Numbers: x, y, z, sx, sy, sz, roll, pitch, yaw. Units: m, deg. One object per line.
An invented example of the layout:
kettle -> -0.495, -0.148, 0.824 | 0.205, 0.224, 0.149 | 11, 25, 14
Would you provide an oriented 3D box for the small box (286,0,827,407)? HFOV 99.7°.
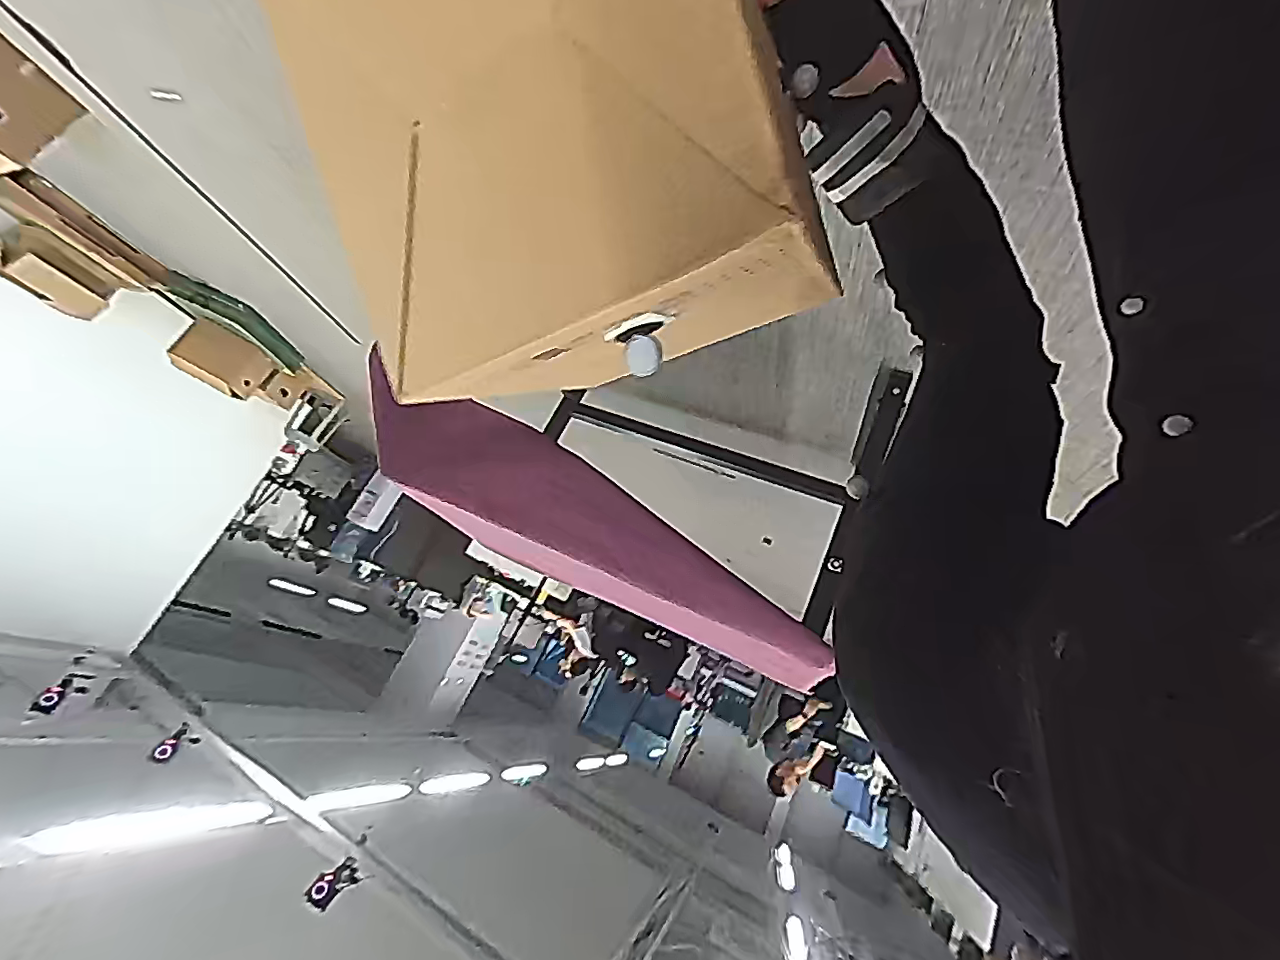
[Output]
small box -> -0.025, -0.144, 0.255 | 0.168, 0.179, 0.176 | -14, -175, 29
